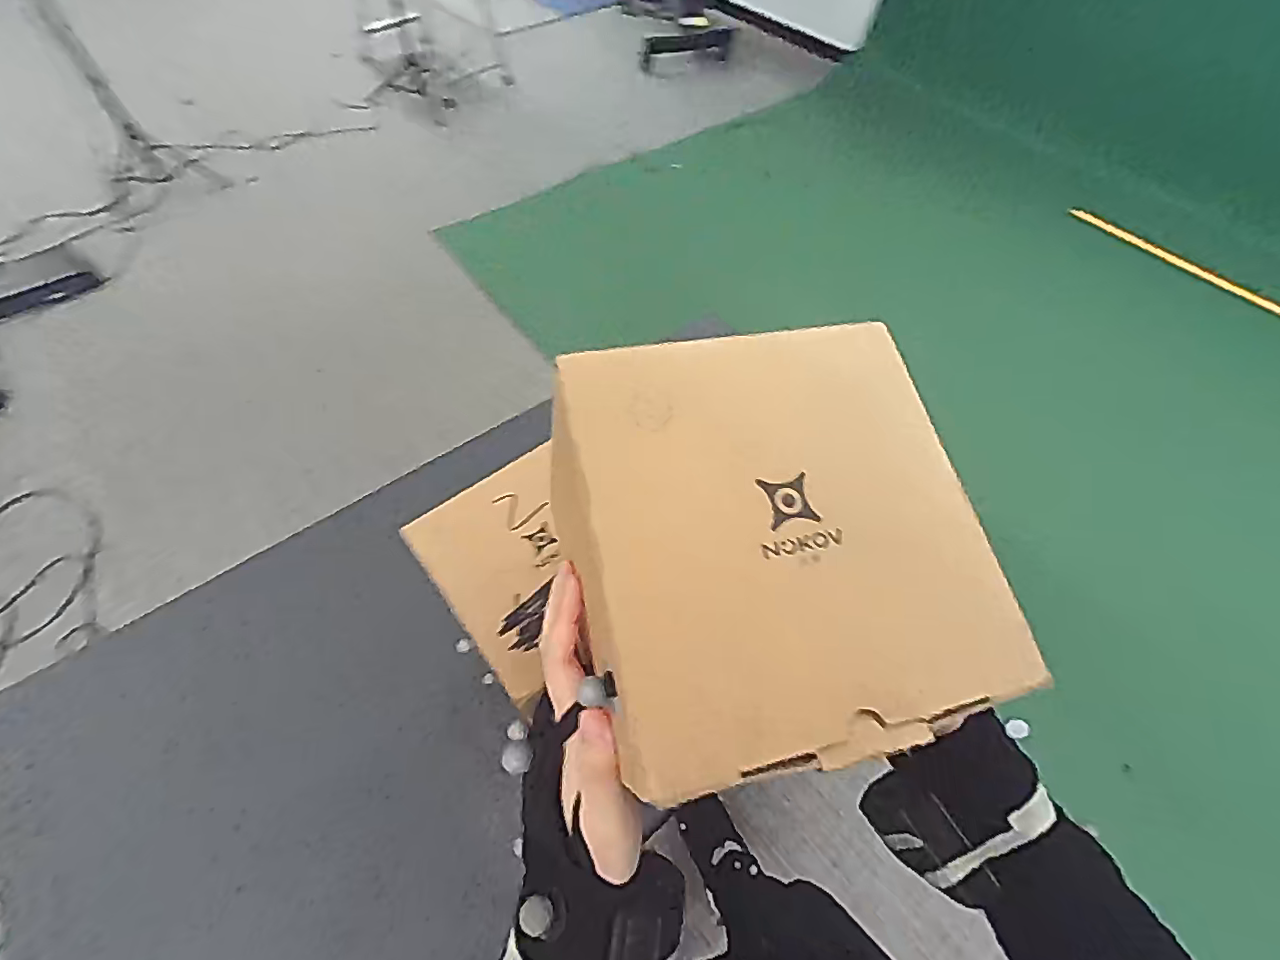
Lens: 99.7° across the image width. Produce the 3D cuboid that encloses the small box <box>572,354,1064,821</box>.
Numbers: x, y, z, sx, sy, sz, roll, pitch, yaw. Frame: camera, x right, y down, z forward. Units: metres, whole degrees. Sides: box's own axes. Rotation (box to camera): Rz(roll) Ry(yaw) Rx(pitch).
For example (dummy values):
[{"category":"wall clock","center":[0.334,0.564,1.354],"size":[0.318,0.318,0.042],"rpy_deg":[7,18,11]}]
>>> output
[{"category":"small box","center":[0.058,0.056,0.296],"size":[0.168,0.176,0.179],"rpy_deg":[-8,69,-13]}]

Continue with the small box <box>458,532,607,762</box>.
[{"category":"small box","center":[-0.083,0.199,0.634],"size":[0.168,0.176,0.179],"rpy_deg":[-35,65,-22]}]
